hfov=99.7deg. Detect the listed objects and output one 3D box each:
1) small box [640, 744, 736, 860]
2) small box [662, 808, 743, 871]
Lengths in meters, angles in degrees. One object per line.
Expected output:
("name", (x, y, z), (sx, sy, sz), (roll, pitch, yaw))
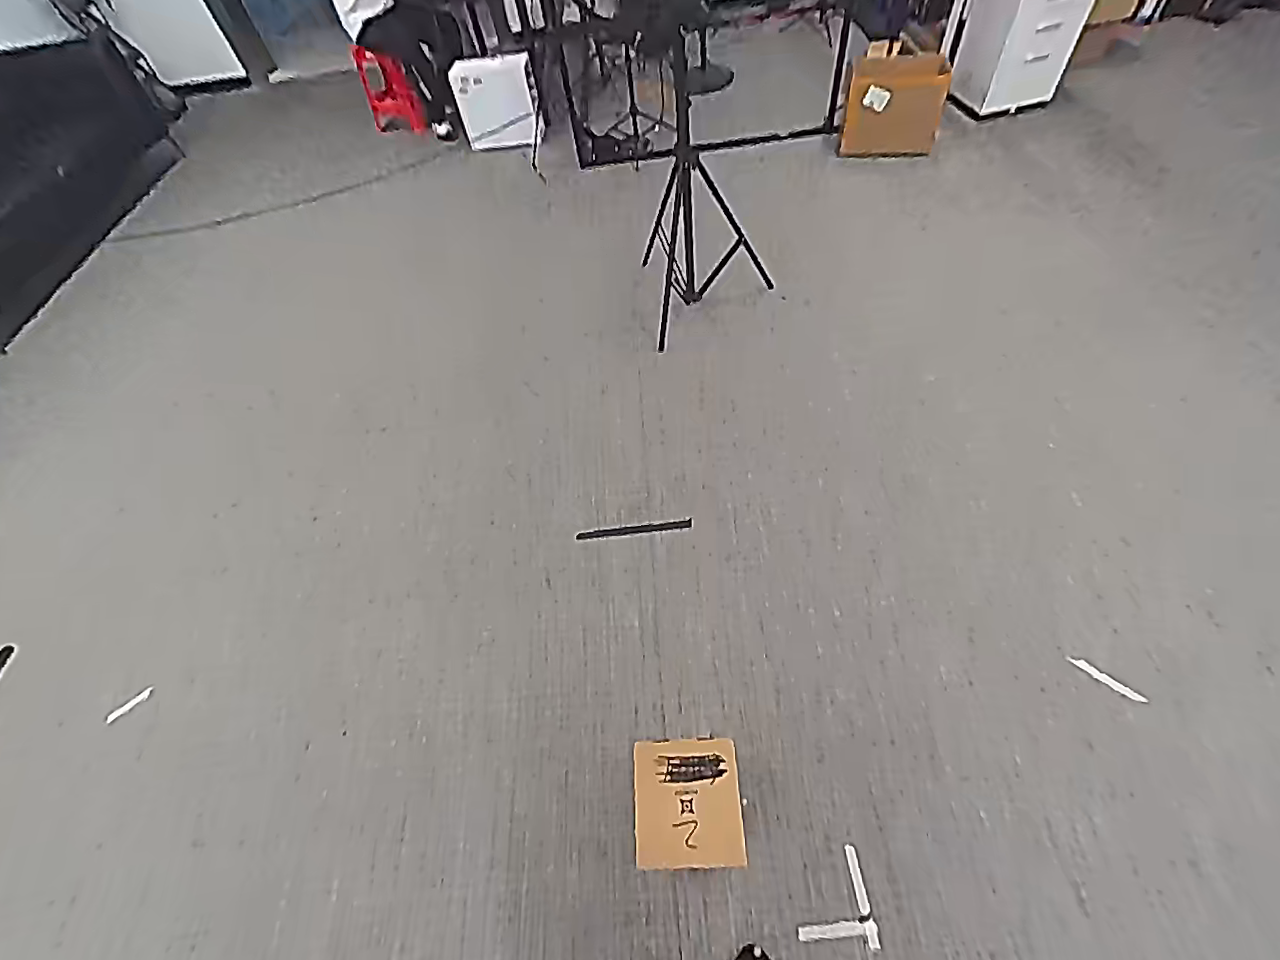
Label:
("small box", (0.089, 0.624, 1.044), (0.168, 0.176, 0.179), (-5, 54, 4))
("small box", (0.114, 0.723, 1.171), (0.168, 0.176, 0.179), (-16, 54, -3))
